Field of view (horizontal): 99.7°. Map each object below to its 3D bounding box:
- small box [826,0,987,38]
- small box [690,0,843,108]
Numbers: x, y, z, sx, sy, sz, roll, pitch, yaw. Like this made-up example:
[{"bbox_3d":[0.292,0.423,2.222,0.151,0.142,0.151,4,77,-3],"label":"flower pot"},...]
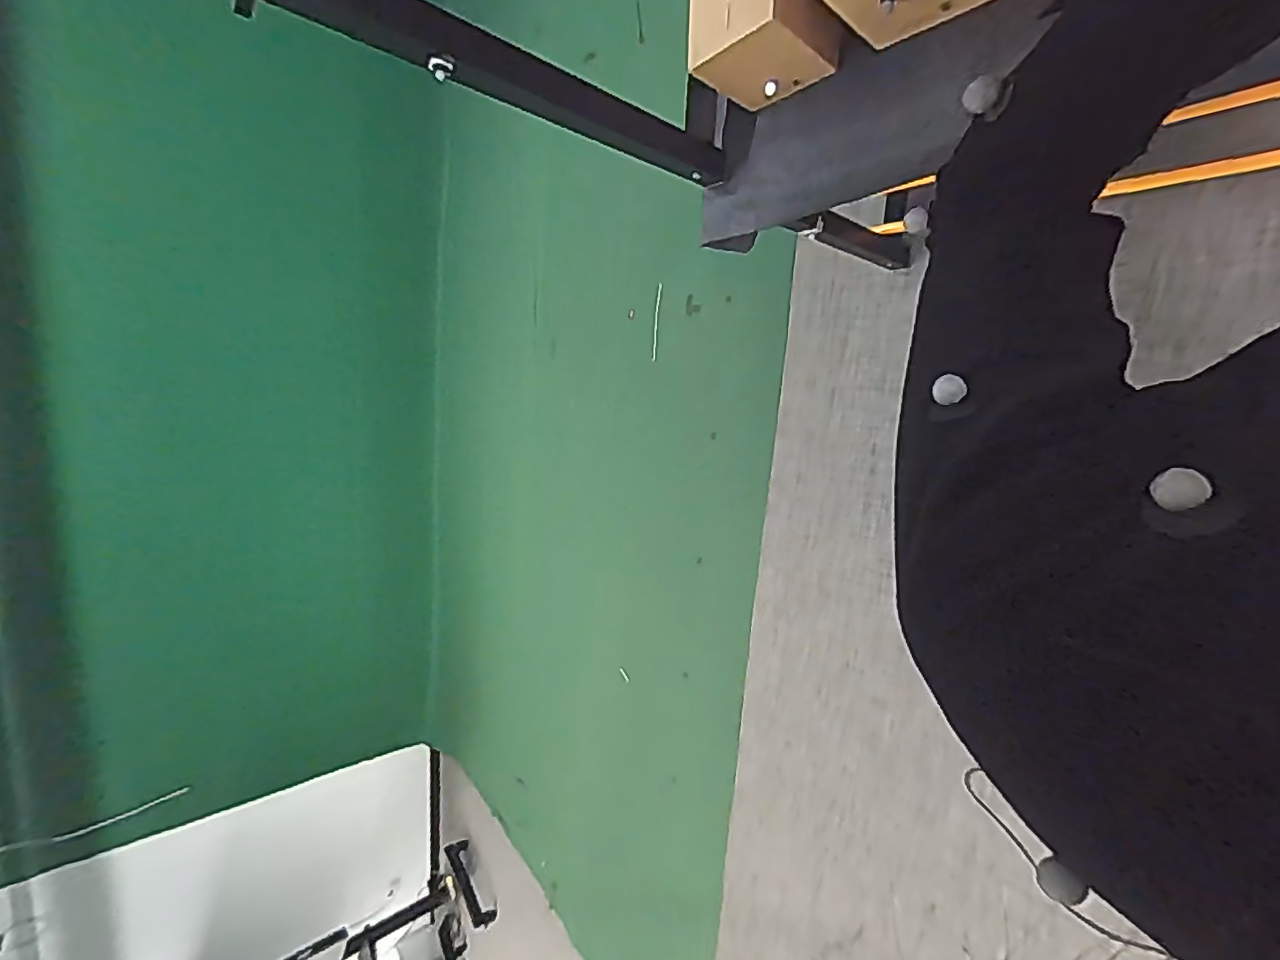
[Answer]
[{"bbox_3d":[0.343,-0.689,0.658,0.168,0.176,0.179,15,103,48],"label":"small box"},{"bbox_3d":[0.197,-0.721,0.828,0.168,0.176,0.179,11,101,50],"label":"small box"}]
